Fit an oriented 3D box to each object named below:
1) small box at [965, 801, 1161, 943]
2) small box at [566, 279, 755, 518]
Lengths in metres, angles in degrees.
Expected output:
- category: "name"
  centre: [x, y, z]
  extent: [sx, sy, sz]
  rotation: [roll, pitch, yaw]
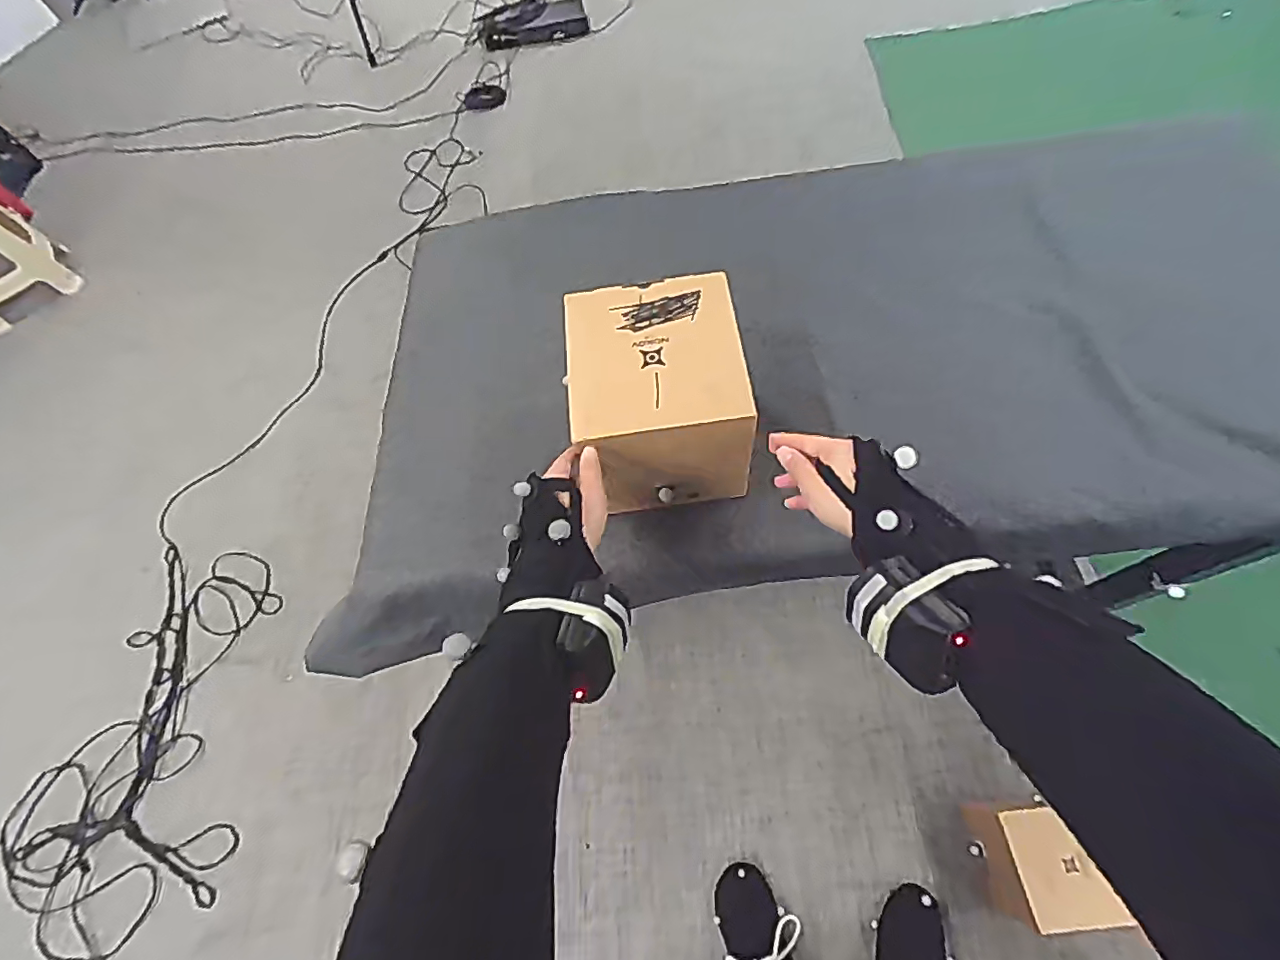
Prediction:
- category: "small box"
  centre: [0.705, 0.660, 0.928]
  extent: [0.179, 0.176, 0.168]
  rotation: [-10, 61, 4]
- category: "small box"
  centre: [0.020, -0.078, 0.575]
  extent: [0.168, 0.176, 0.179]
  rotation: [-8, 63, 4]
